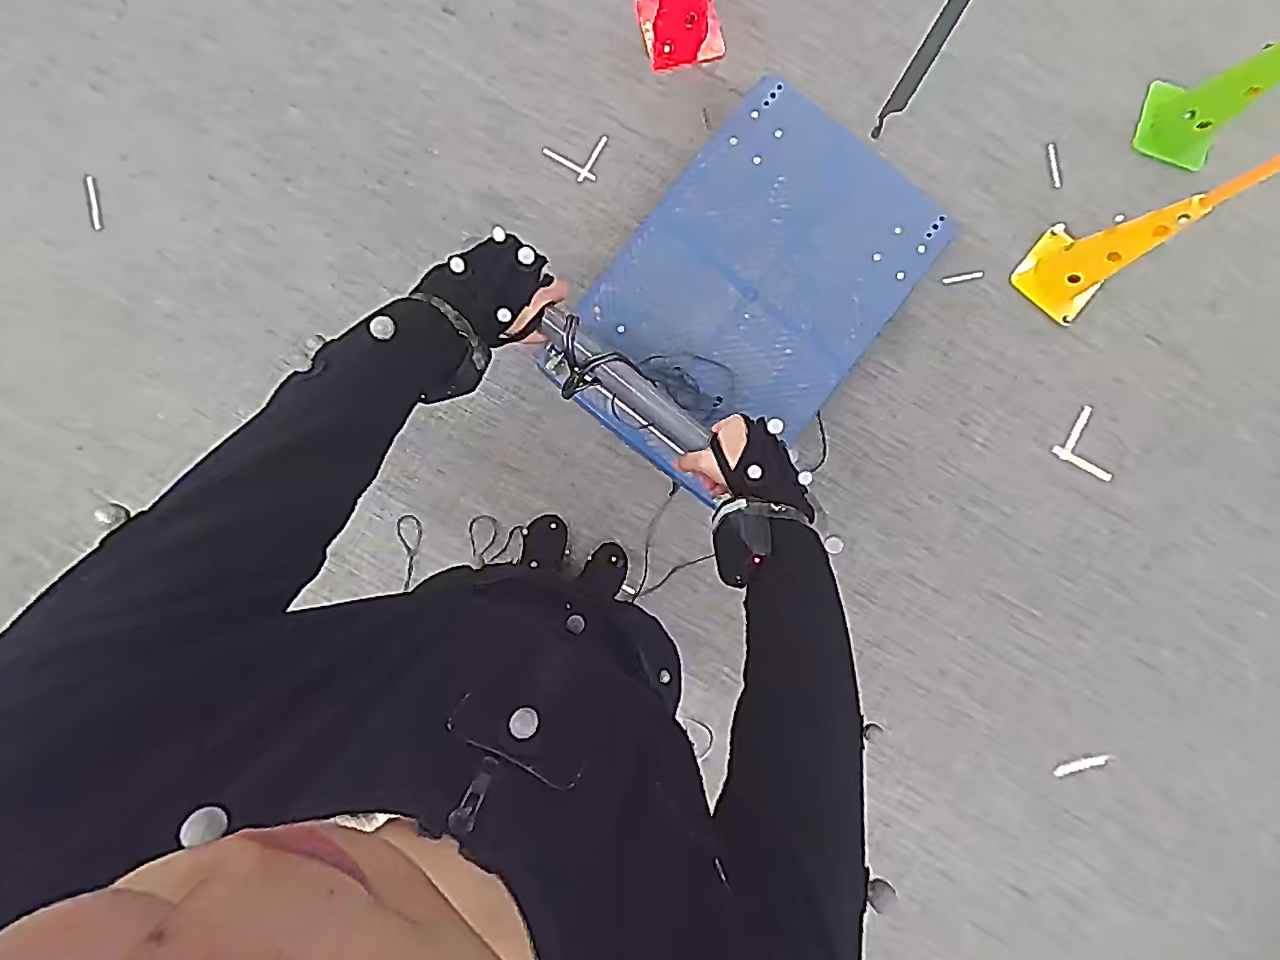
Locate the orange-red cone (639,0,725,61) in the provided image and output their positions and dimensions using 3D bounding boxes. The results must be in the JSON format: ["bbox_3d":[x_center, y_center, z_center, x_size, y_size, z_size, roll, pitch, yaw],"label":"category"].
[{"bbox_3d":[0.116,-1.184,1.214,0.199,0.360,0.198,-14,90,-3],"label":"orange-red cone"}]

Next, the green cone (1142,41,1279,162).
[{"bbox_3d":[1.444,-0.957,1.254,0.200,0.368,0.202,17,90,-1],"label":"green cone"}]
